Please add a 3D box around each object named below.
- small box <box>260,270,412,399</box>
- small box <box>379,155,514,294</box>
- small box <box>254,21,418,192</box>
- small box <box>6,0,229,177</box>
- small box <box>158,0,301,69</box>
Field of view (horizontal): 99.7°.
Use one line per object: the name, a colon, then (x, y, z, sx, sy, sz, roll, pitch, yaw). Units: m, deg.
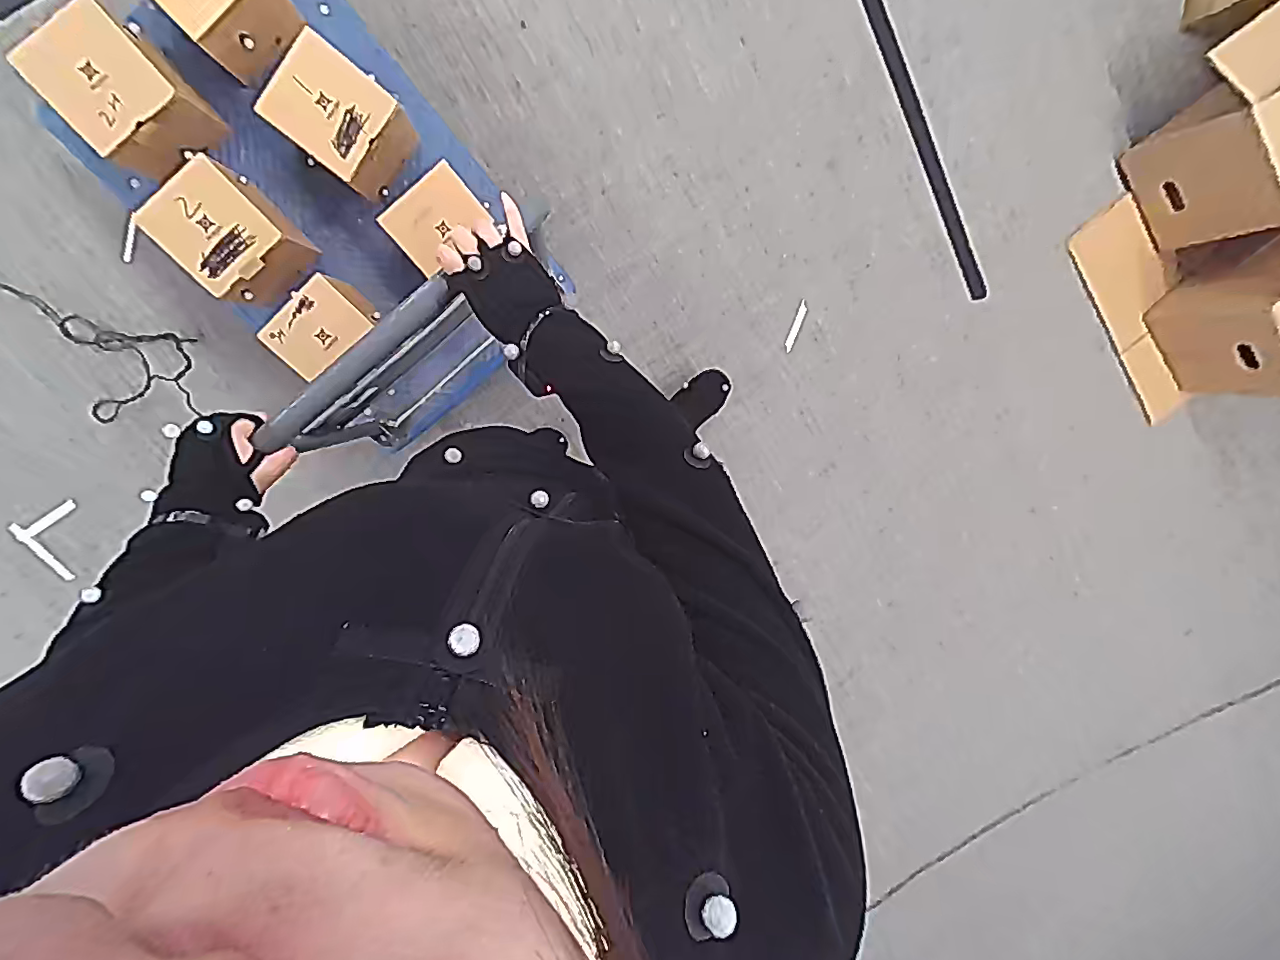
small box: (-0.586, -0.287, 1.074, 0.168, 0.176, 0.179, -44, 107, 2)
small box: (-0.365, -0.486, 1.064, 0.168, 0.176, 0.179, -41, 106, 1)
small box: (-0.539, -0.662, 0.990, 0.179, 0.176, 0.168, 36, 96, -15)
small box: (-0.876, -0.666, 0.930, 0.168, 0.176, 0.179, -39, 108, 2)
small box: (-0.725, -0.845, 0.913, 0.168, 0.176, 0.179, -44, 106, 3)
